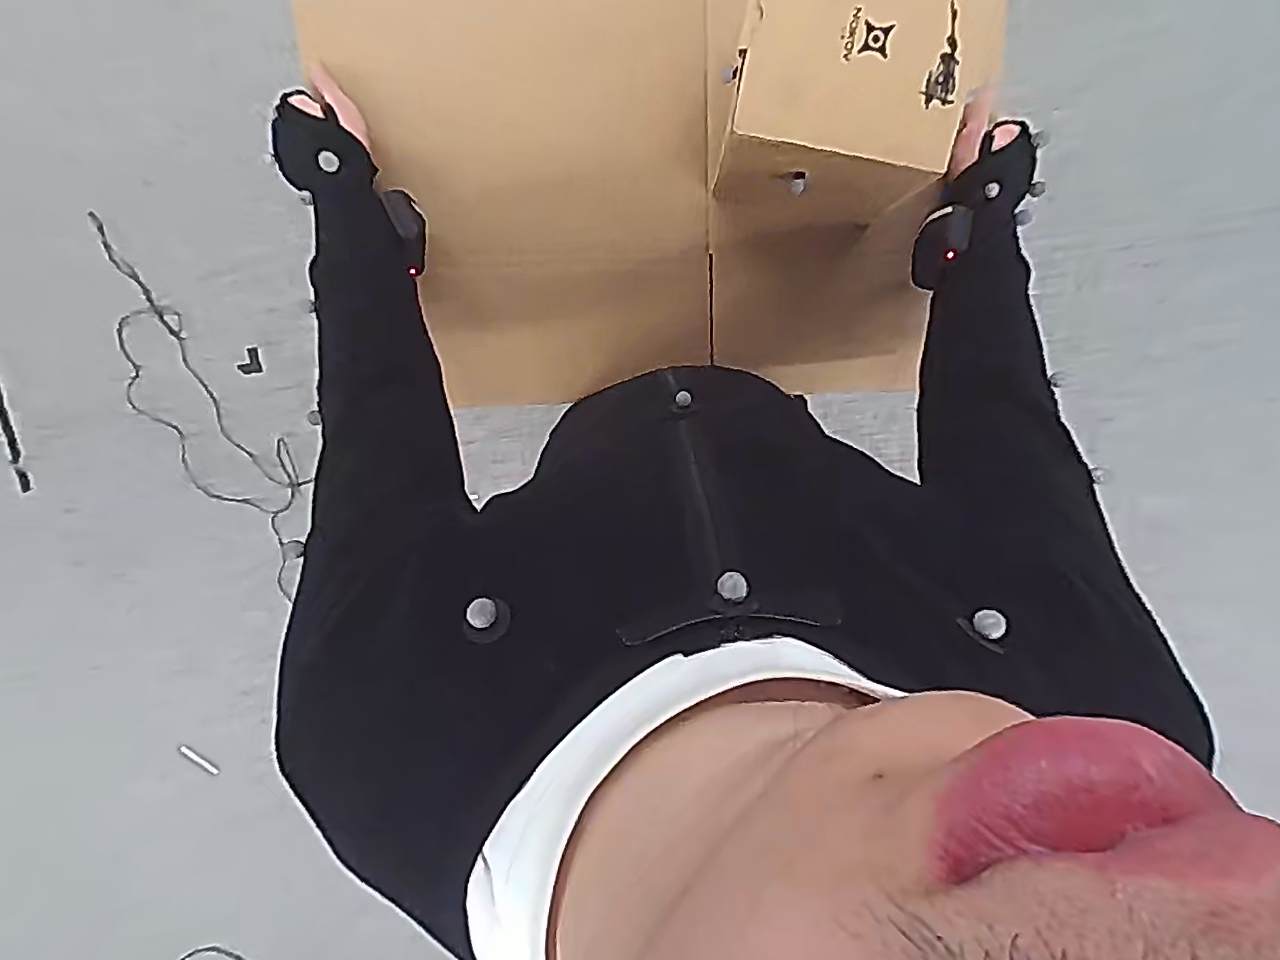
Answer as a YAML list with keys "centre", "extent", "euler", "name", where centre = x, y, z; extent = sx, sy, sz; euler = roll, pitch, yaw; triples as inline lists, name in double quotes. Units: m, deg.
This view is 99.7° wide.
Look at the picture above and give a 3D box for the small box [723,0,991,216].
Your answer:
- centre: [0.179, -0.359, 0.494]
  extent: [0.179, 0.176, 0.168]
  euler: [11, 103, 2]
  name: "small box"
